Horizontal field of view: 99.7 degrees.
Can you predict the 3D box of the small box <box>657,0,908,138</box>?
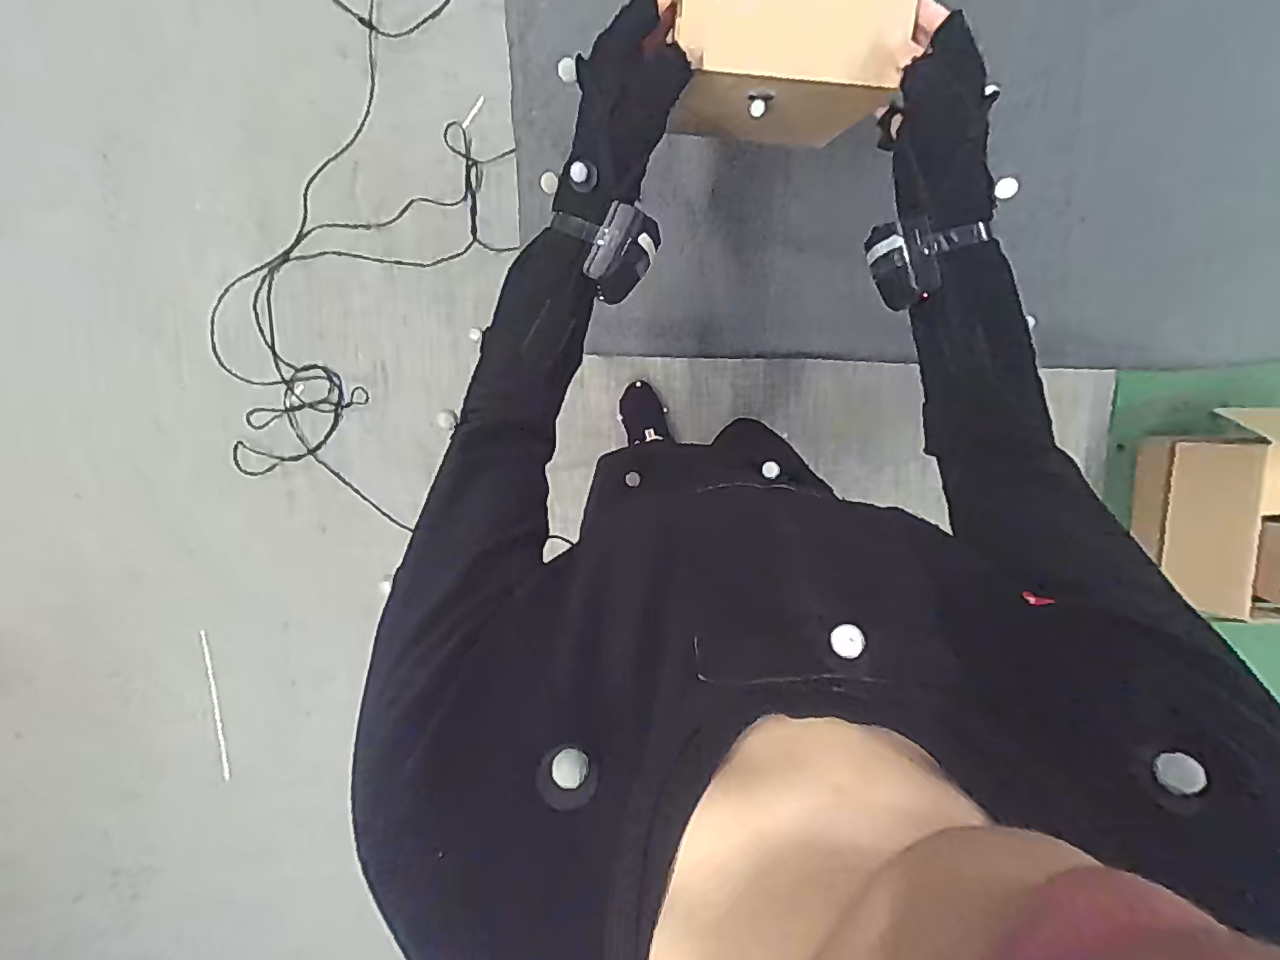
[{"bbox_3d":[0.109,-0.408,0.457,0.179,0.176,0.168,3,109,-4],"label":"small box"}]
